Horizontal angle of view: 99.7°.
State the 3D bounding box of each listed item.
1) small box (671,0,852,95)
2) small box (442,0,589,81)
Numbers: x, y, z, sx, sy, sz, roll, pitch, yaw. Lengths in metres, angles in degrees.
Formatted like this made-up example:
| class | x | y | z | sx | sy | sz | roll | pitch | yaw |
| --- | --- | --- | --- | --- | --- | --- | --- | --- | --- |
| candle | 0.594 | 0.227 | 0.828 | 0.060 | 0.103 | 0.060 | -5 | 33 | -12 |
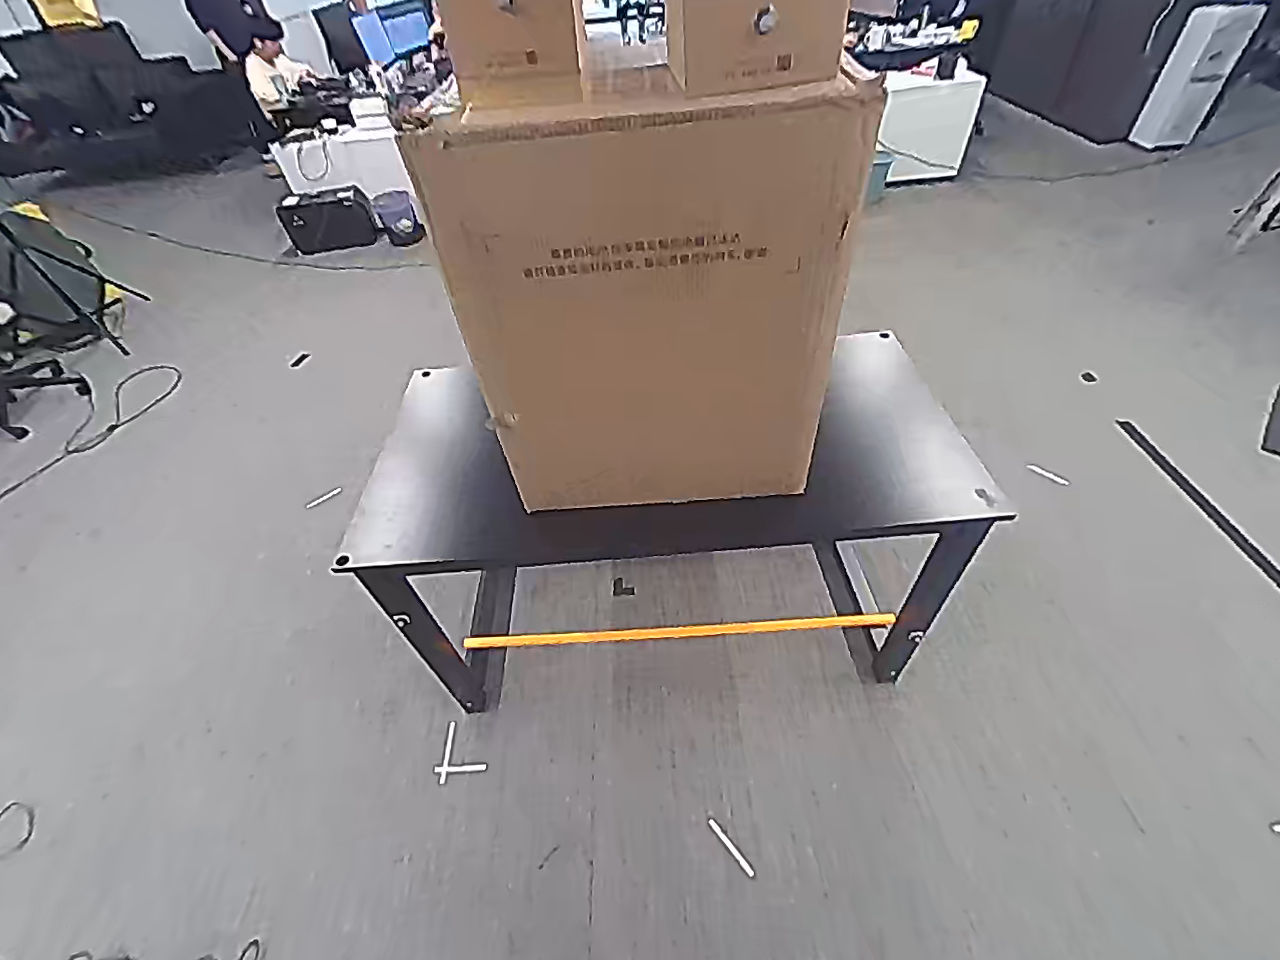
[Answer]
| class | x | y | z | sx | sy | sz | roll | pitch | yaw |
| --- | --- | --- | --- | --- | --- | --- | --- | --- | --- |
| small box | 0.121 | -0.532 | 0.574 | 0.168 | 0.176 | 0.179 | -7 | 47 | 2 |
| small box | -0.158 | -0.634 | 0.701 | 0.168 | 0.176 | 0.179 | -3 | 46 | 1 |
